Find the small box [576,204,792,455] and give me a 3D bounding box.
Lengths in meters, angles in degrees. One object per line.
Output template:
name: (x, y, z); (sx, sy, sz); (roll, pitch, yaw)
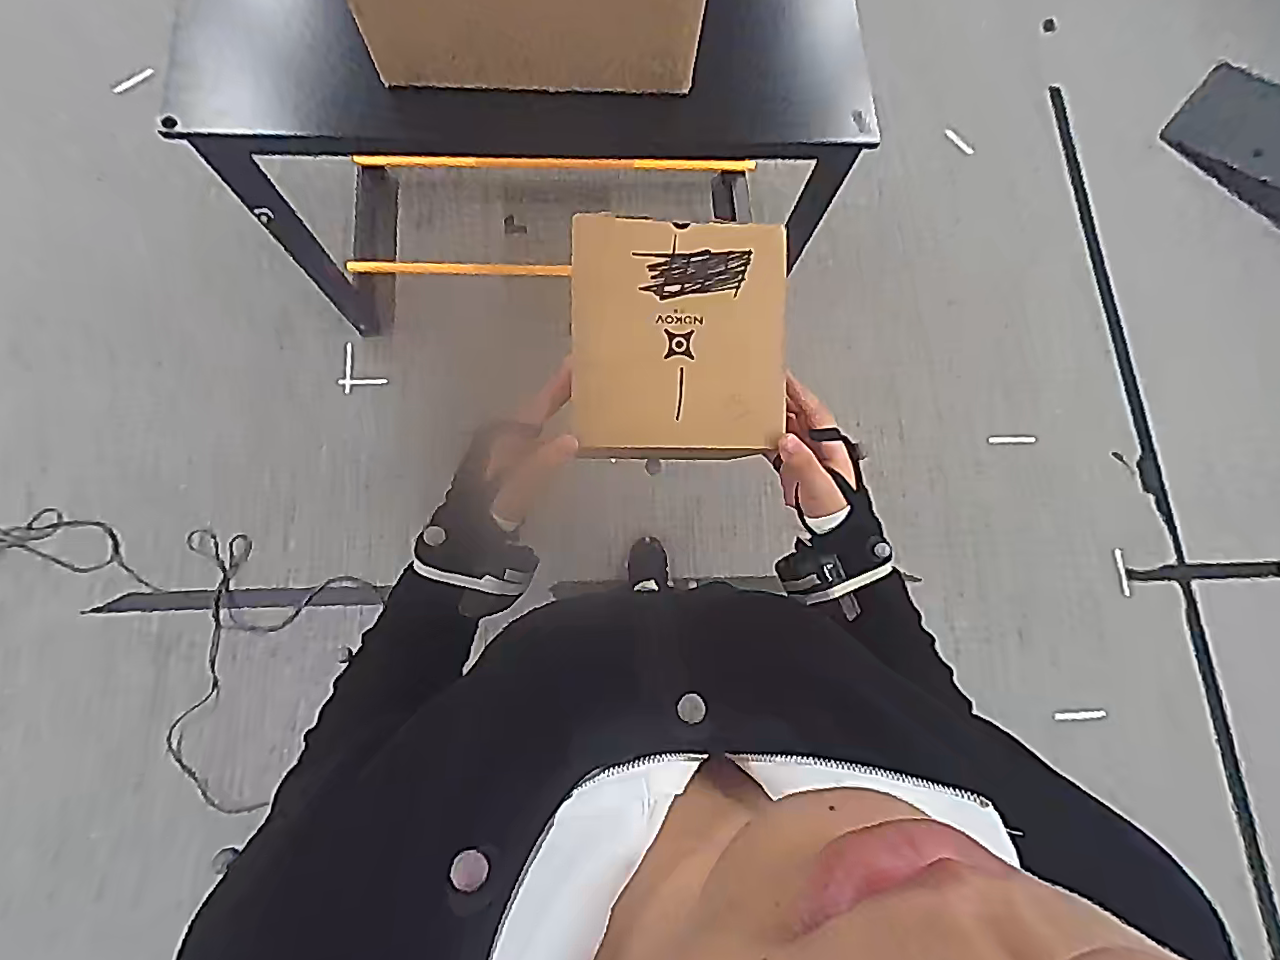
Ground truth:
small box: (0.026, -0.116, 0.483); (0.168, 0.176, 0.179); (0, 90, -5)
